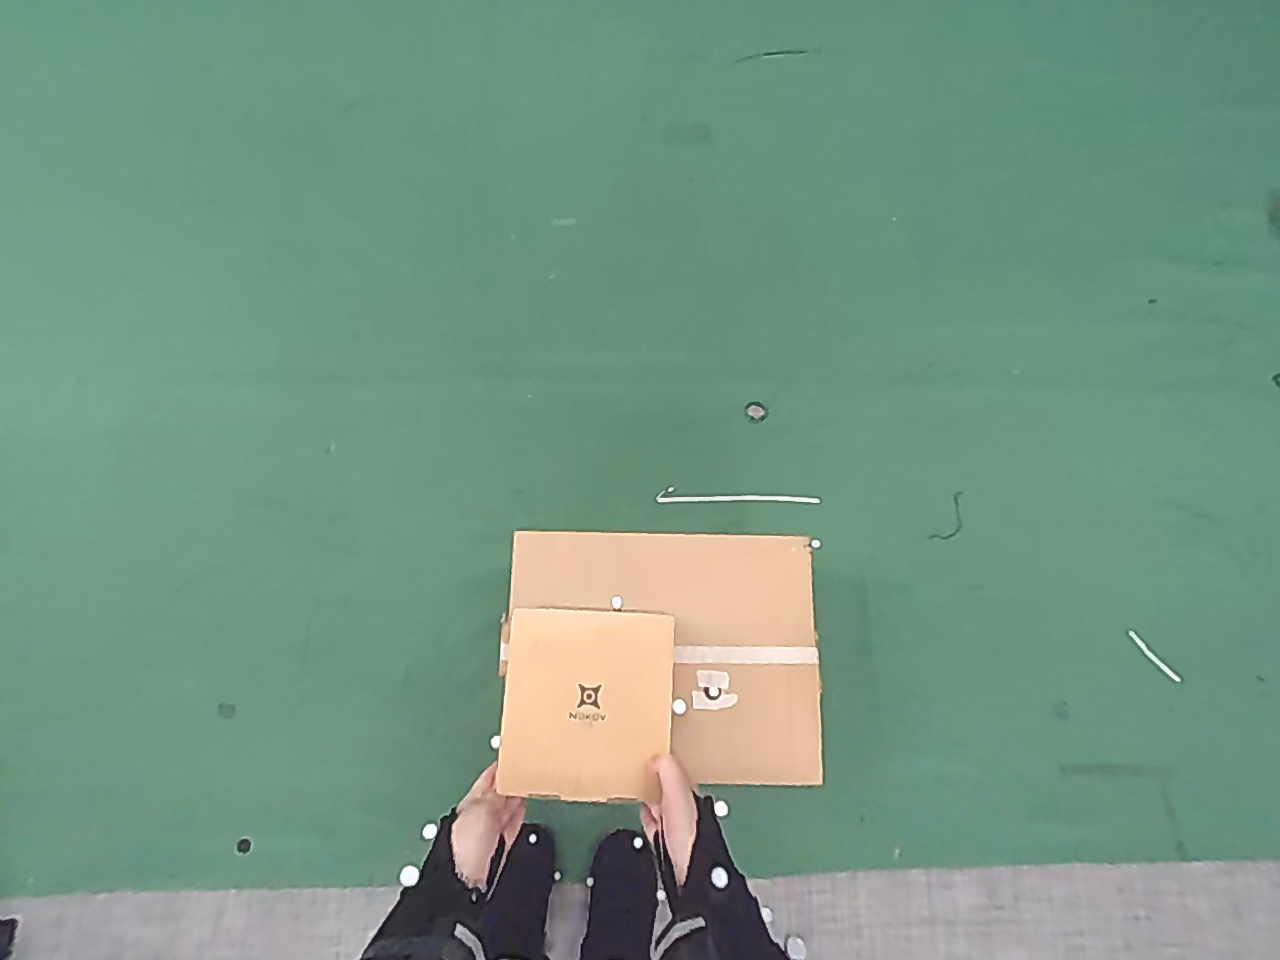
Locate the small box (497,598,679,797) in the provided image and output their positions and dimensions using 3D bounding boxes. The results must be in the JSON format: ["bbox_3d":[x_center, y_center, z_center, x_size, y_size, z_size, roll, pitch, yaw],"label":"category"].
[{"bbox_3d":[-0.050,0.223,0.597,0.168,0.176,0.179,3,78,-1],"label":"small box"}]

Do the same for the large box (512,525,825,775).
[{"bbox_3d":[0.027,0.246,0.842,0.408,0.320,0.320,1,79,-2],"label":"large box"}]
